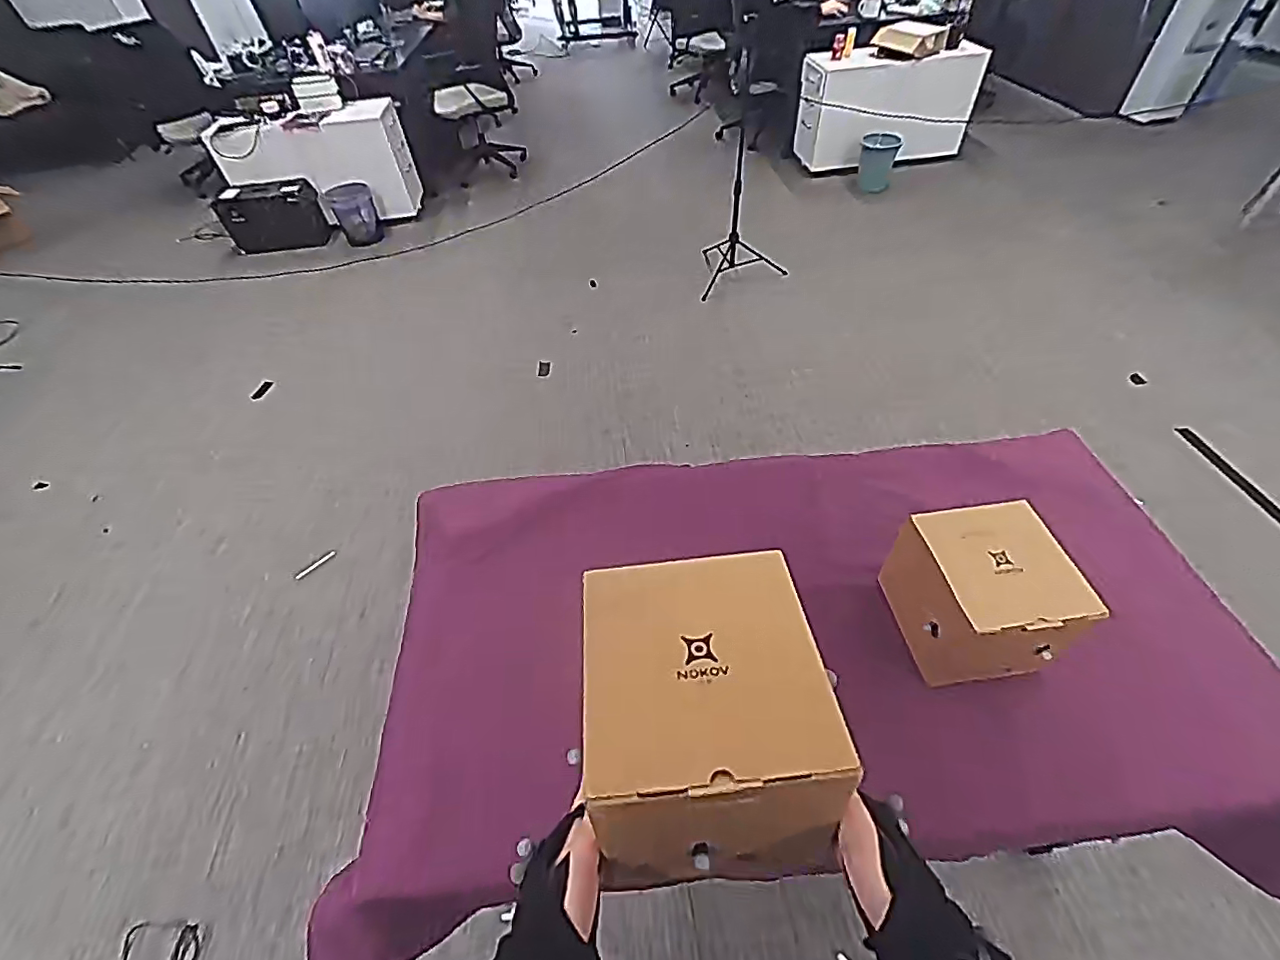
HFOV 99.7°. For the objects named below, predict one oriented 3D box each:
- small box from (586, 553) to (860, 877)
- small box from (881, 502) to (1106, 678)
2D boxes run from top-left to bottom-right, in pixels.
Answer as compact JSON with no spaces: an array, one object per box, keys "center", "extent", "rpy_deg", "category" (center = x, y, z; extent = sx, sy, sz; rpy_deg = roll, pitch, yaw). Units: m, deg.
[{"center":[0.047,0.184,0.432],"extent":[0.168,0.176,0.179],"rpy_deg":[-6,42,-1],"category":"small box"},{"center":[0.458,0.156,0.739],"extent":[0.168,0.176,0.179],"rpy_deg":[-7,49,-2],"category":"small box"}]
